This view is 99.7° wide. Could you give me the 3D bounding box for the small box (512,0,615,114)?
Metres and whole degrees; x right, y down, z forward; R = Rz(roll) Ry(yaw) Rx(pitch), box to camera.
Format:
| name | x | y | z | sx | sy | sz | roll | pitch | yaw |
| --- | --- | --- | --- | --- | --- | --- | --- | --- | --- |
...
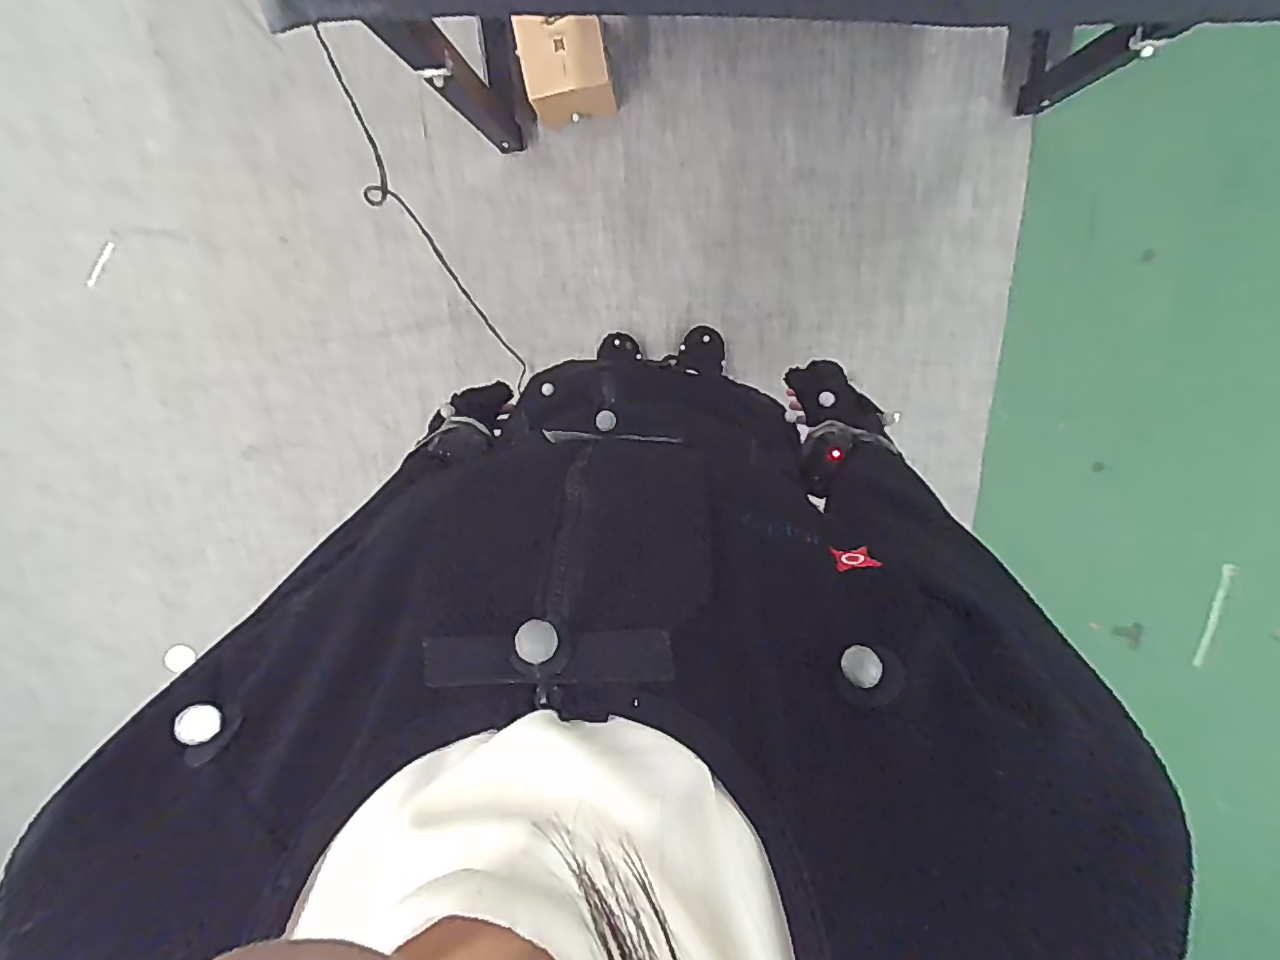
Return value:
| name | x | y | z | sx | sy | sz | roll | pitch | yaw |
| --- | --- | --- | --- | --- | --- | --- | --- | --- | --- |
| small box | -0.149 | -0.884 | 1.098 | 0.168 | 0.176 | 0.179 | -9 | 108 | 6 |
